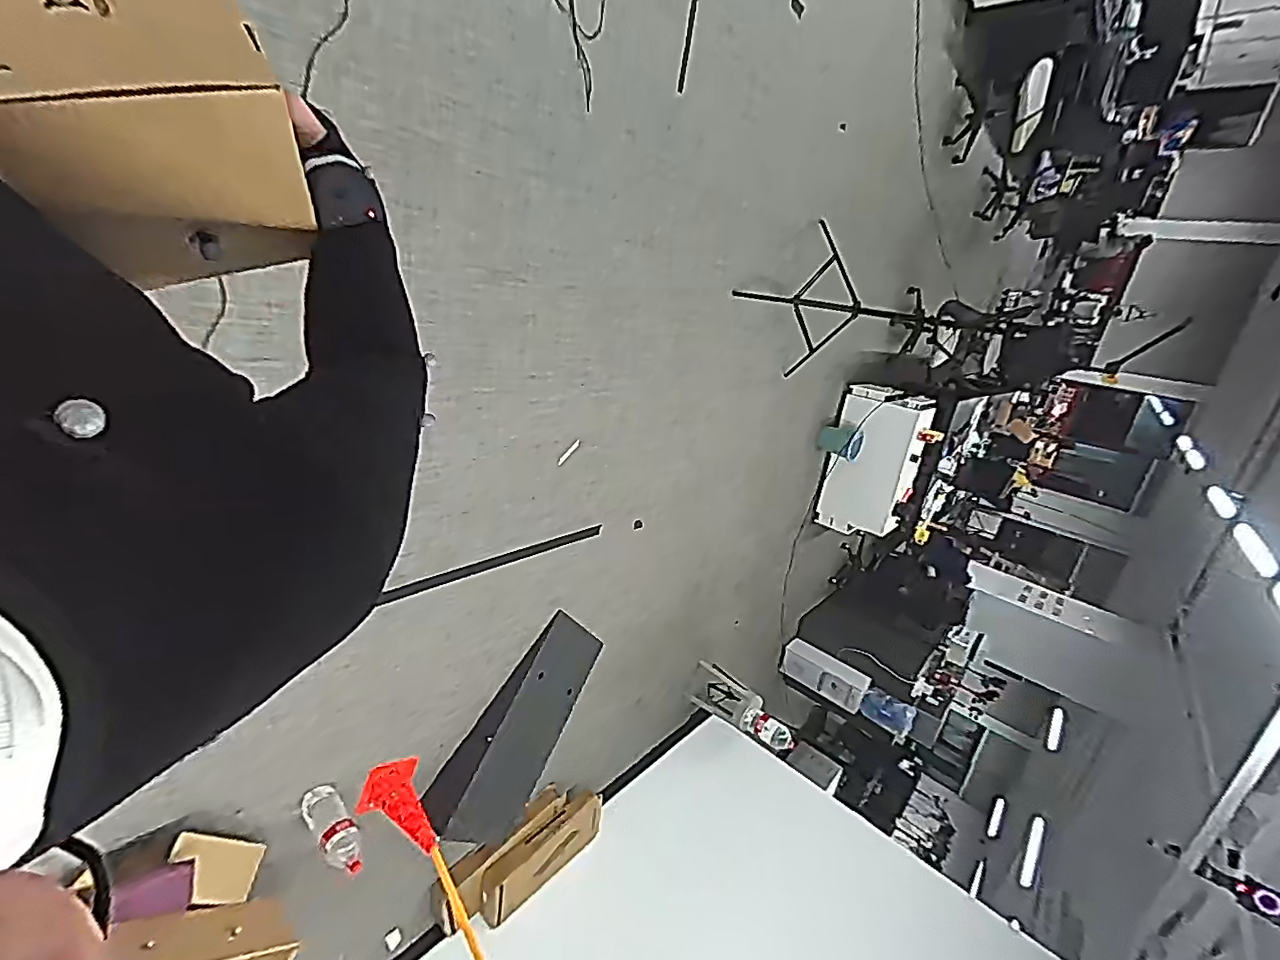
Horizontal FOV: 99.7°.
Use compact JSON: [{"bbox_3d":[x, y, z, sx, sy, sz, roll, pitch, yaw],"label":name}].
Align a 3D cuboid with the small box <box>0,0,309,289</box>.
[{"bbox_3d":[-0.395,-0.285,0.436,0.179,0.168,0.176,-27,170,-28],"label":"small box"}]
